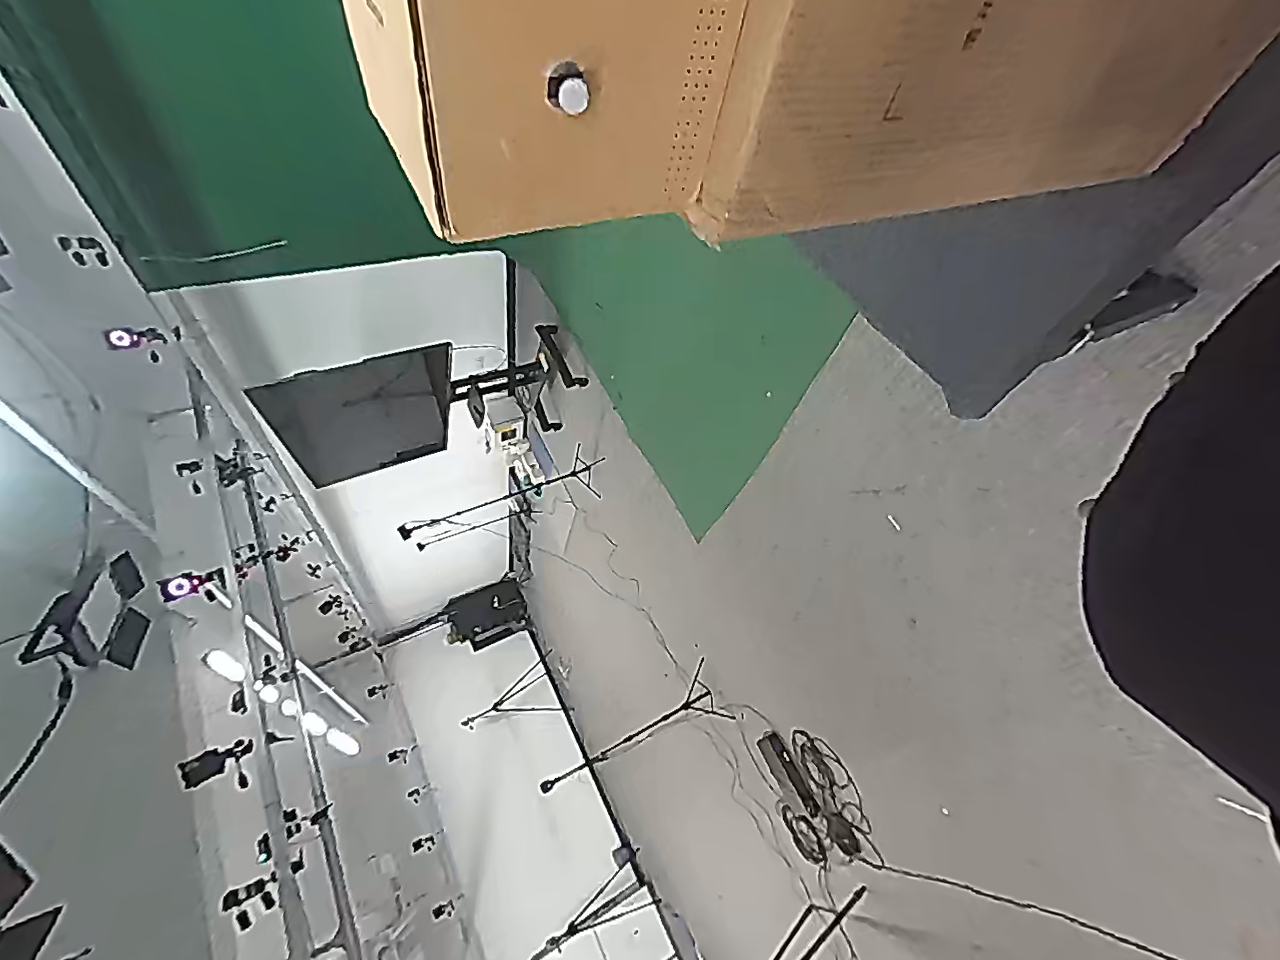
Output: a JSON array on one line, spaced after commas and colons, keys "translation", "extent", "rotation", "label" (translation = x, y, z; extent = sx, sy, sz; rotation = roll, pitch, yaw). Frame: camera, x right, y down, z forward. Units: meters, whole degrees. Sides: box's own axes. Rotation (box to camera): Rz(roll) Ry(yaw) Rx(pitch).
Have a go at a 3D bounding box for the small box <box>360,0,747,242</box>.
[{"translation": [-0.054, -0.269, 0.301], "extent": [0.168, 0.176, 0.179], "rotation": [56, 155, 26], "label": "small box"}]
